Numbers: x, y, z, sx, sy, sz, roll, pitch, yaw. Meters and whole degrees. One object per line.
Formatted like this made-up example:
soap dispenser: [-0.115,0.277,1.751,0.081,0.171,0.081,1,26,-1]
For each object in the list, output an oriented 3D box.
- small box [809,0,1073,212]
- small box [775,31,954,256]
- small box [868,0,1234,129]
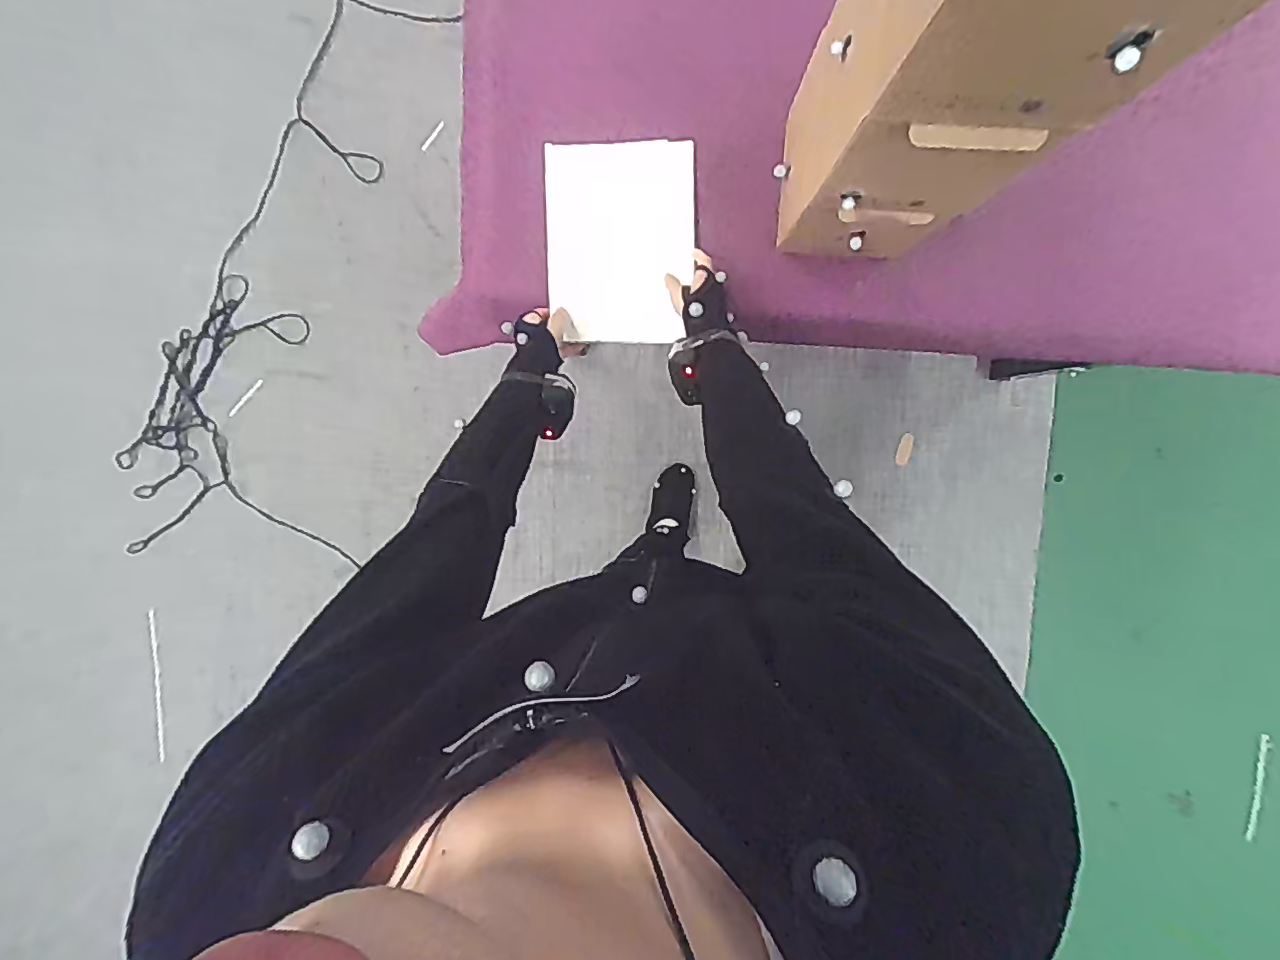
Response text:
small box: [0.258,-0.363,0.483,0.168,0.176,0.179,4,94,1]
small box: [0.264,-0.383,0.647,0.168,0.176,0.179,4,96,1]
small box: [0.253,-0.344,0.321,0.168,0.176,0.179,5,94,1]
